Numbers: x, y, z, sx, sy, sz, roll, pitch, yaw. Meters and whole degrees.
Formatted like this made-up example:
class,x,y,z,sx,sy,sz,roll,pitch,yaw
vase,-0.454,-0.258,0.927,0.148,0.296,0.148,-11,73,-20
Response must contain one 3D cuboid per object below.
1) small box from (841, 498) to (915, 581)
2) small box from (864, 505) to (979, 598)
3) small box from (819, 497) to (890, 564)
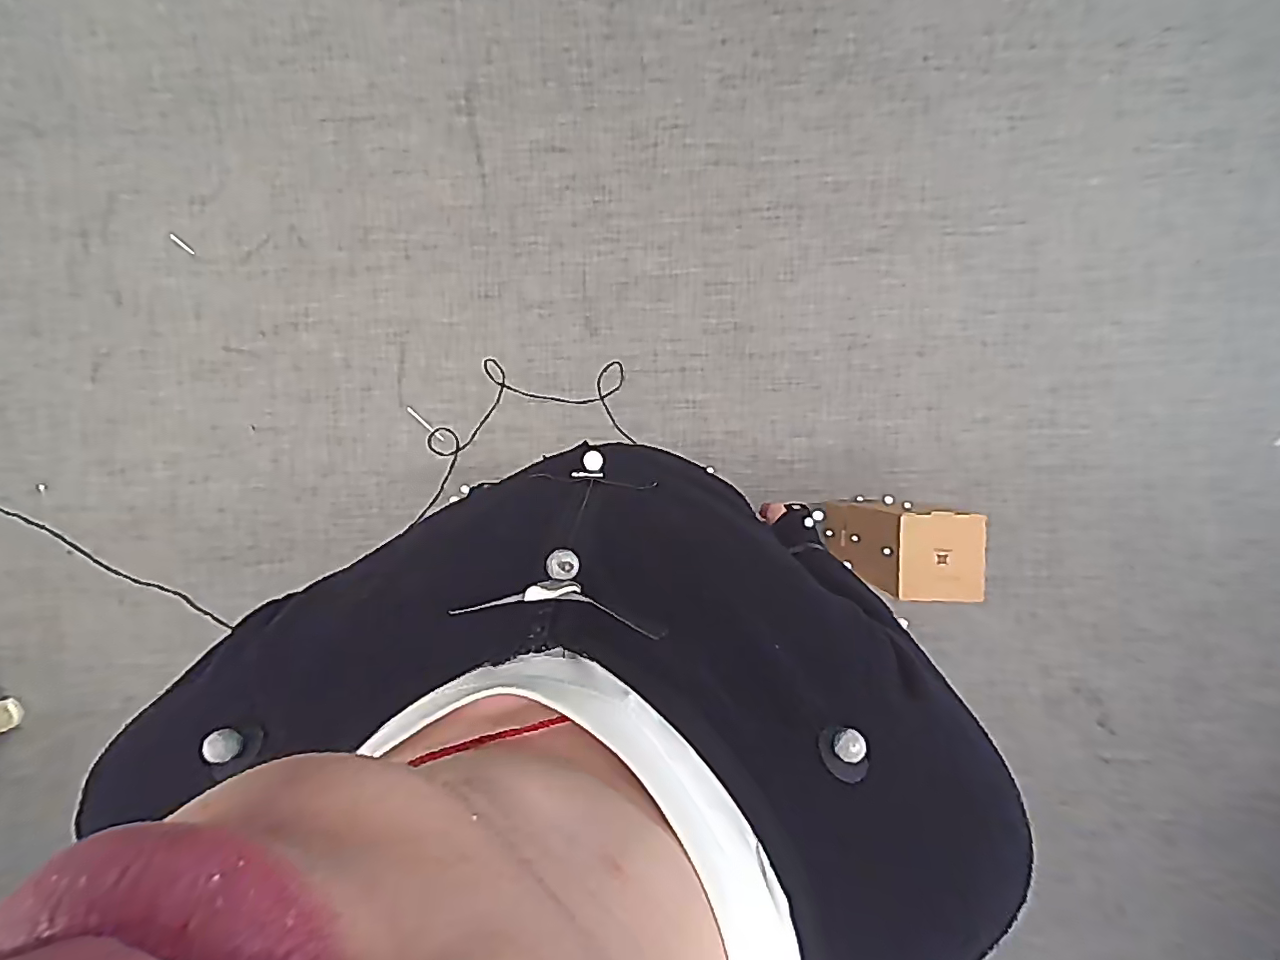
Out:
class,x,y,z,sx,sy,sz,roll,pitch,yaw
small box,0.604,0.143,1.320,0.168,0.176,0.179,1,94,-1
small box,0.596,0.146,1.162,0.168,0.176,0.179,-1,94,1
small box,0.606,0.138,1.507,0.179,0.176,0.168,-3,92,0
